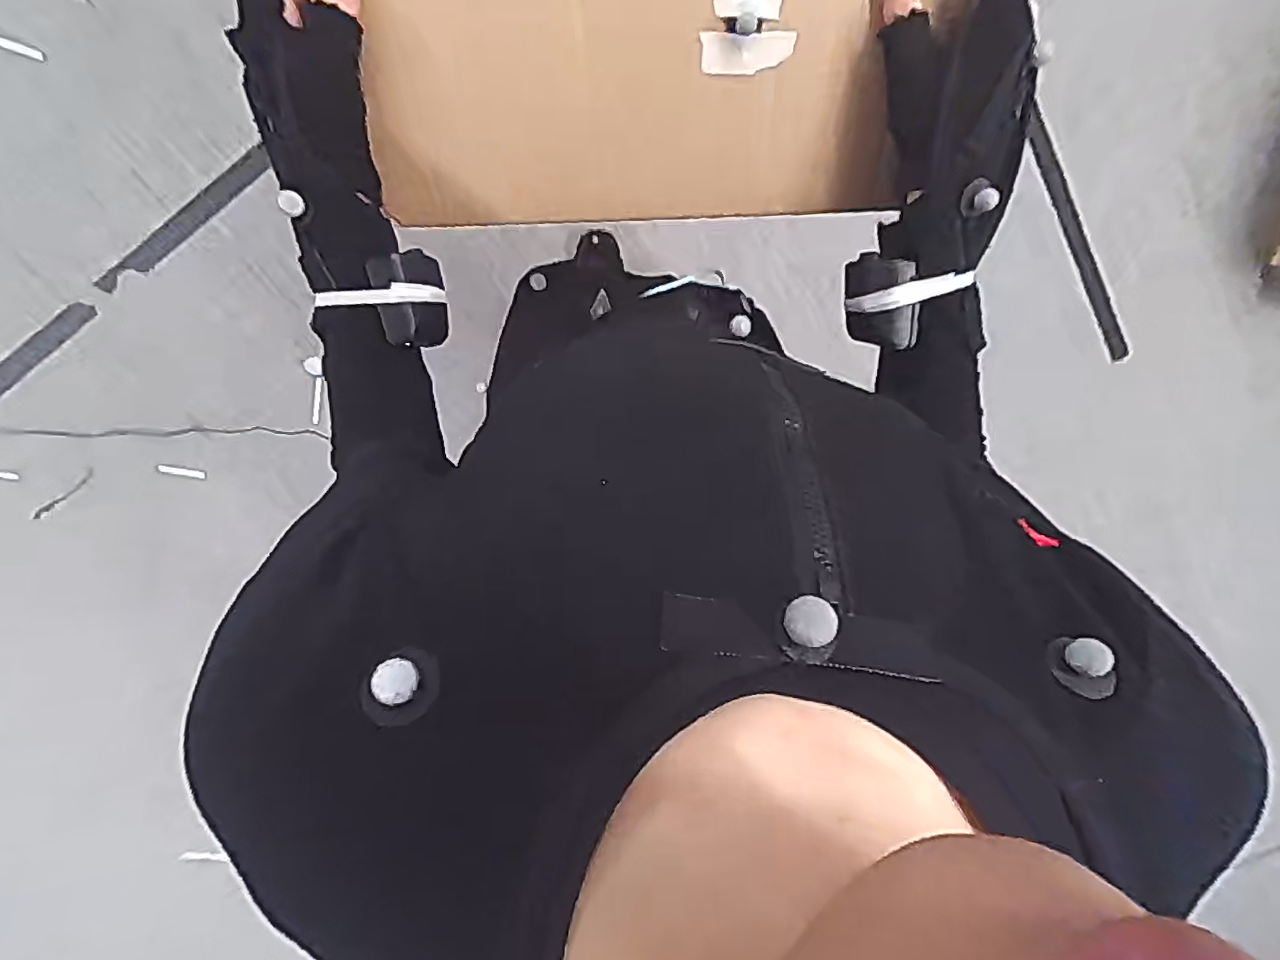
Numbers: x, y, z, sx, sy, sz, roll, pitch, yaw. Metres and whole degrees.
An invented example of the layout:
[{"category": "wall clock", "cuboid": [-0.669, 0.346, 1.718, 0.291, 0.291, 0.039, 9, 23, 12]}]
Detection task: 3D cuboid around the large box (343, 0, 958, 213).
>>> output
[{"category": "large box", "cuboid": [0.006, -0.431, 0.437, 0.408, 0.320, 0.320, 0, 132, 2]}]
